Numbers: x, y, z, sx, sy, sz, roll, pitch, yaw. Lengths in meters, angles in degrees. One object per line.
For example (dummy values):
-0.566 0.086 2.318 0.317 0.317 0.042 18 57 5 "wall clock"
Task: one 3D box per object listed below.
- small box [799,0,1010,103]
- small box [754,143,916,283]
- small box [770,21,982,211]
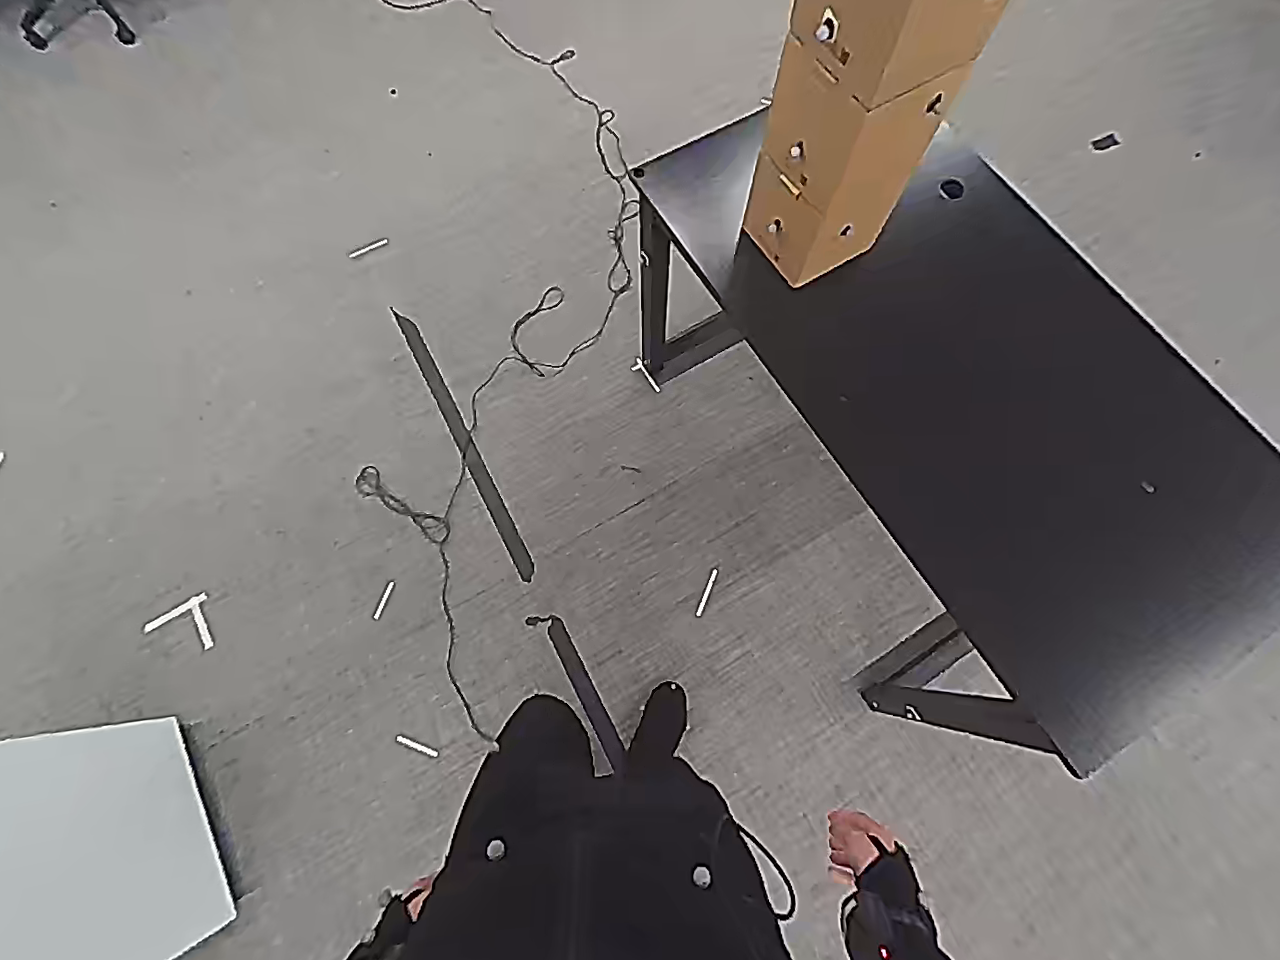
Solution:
0.305 -0.567 0.590 0.179 0.176 0.168 -30 73 -8 "small box"
0.307 -0.467 0.902 0.179 0.176 0.168 -31 75 -8 "small box"
0.307 -0.519 0.746 0.179 0.176 0.168 -30 74 -8 "small box"
